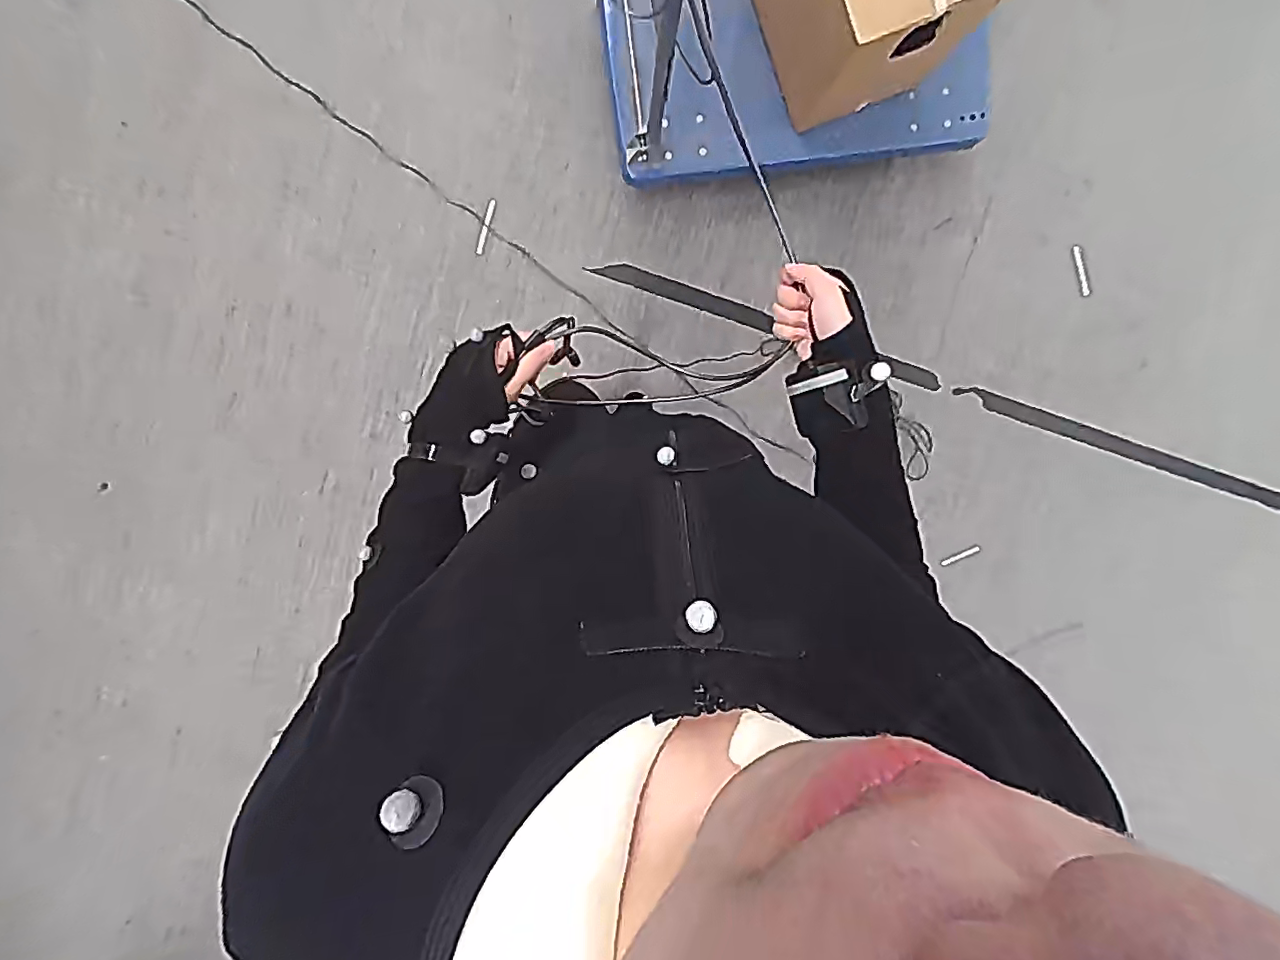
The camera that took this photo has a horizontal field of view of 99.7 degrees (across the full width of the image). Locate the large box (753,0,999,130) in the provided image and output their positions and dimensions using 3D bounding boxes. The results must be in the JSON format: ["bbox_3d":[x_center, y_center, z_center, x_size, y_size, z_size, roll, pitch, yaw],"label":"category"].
[{"bbox_3d":[0.431,-1.010,1.056,0.320,0.320,0.408,-23,100,0],"label":"large box"}]
